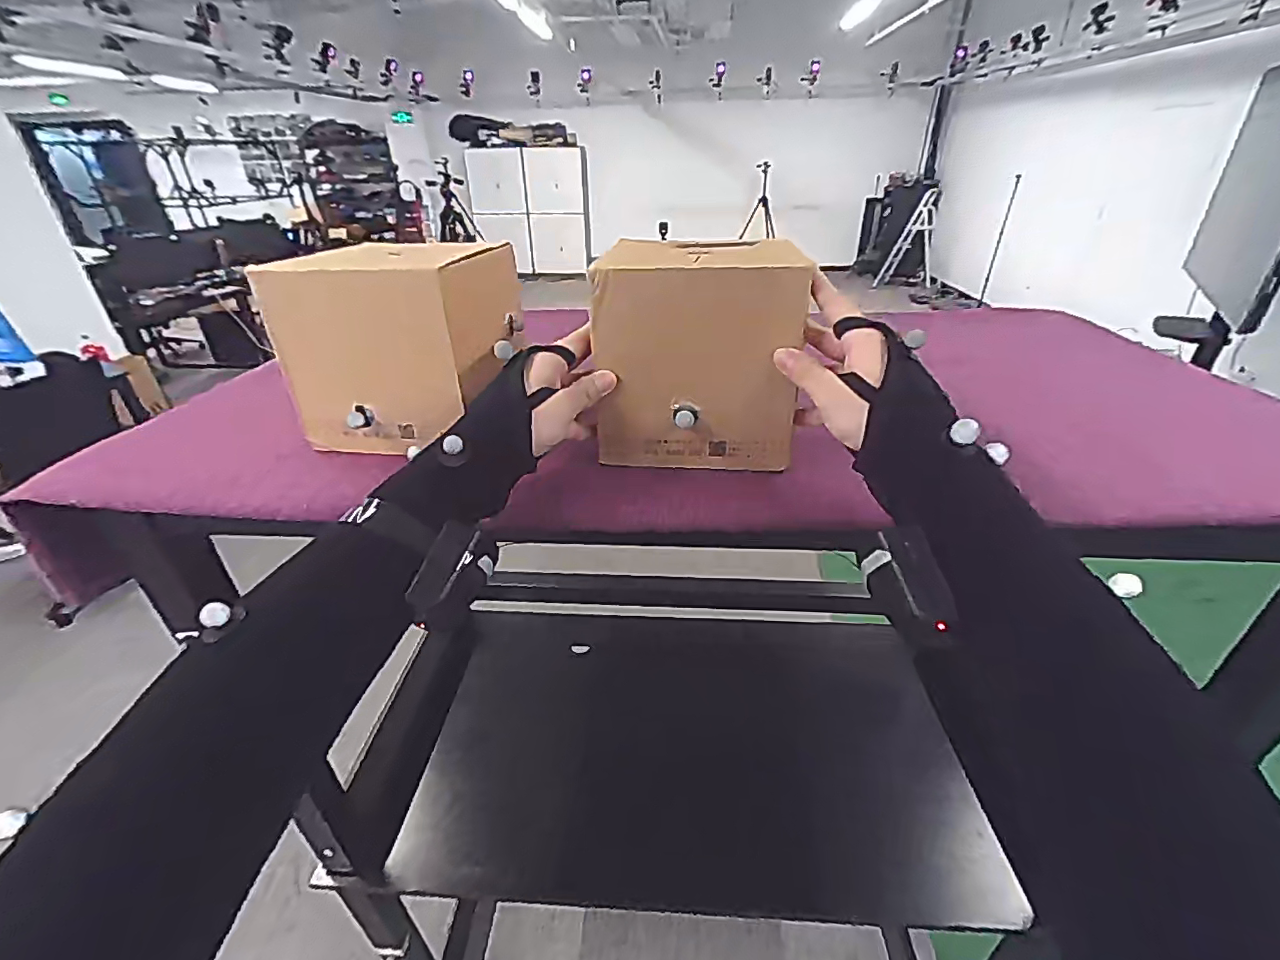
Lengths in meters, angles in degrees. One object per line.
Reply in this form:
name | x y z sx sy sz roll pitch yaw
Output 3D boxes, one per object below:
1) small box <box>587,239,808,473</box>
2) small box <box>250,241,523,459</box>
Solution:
small box | 0.051 -0.123 0.503 0.168 0.176 0.179 2 31 7
small box | -0.223 -0.136 0.535 0.168 0.176 0.179 2 31 7
